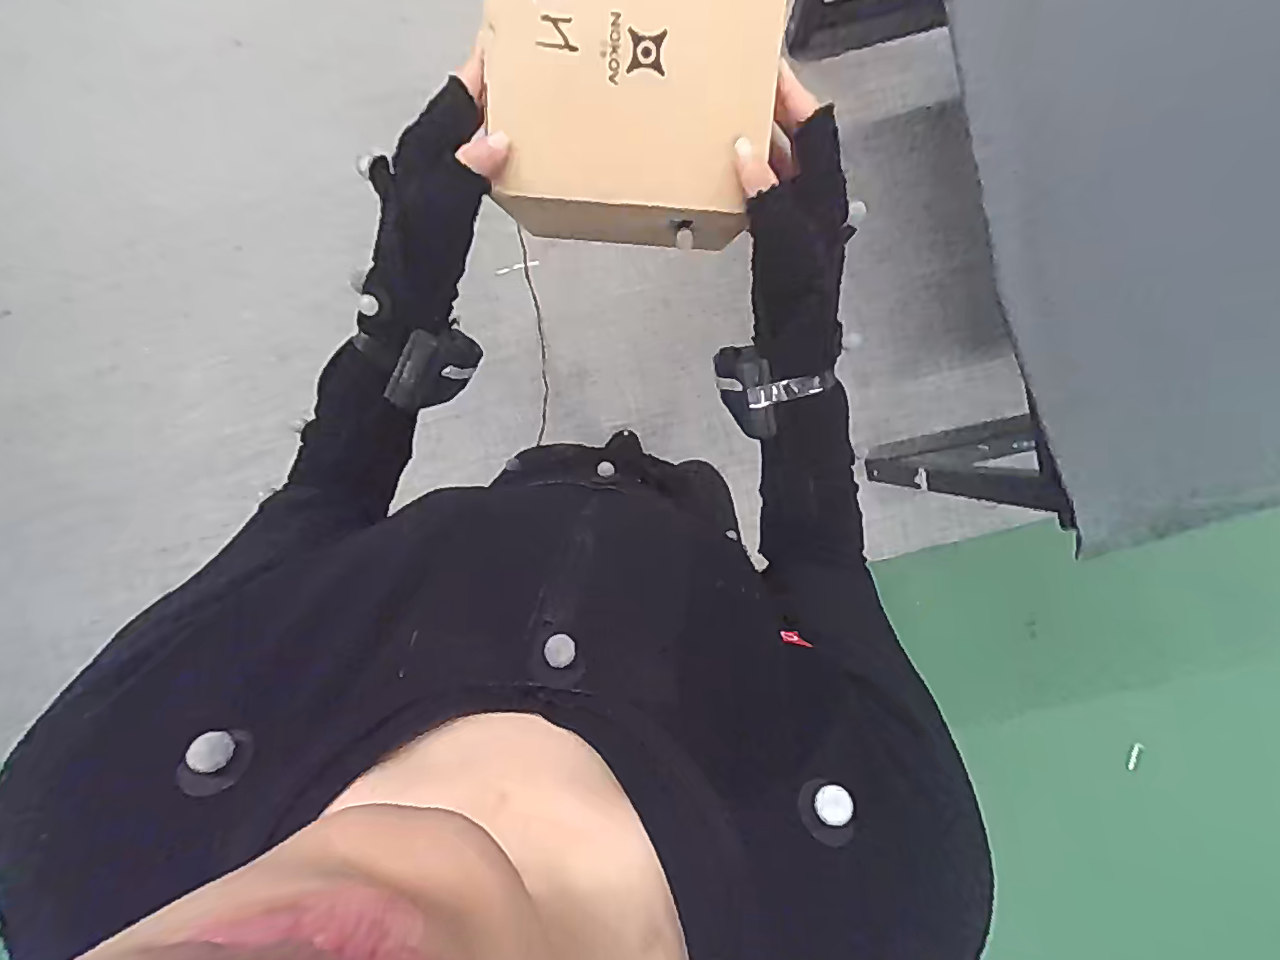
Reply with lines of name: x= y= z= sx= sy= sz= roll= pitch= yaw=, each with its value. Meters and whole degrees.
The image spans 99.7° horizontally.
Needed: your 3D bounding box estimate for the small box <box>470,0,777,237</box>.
small box: x=-0.011 y=-0.278 z=0.387 sx=0.179 sy=0.176 sz=0.168 roll=3 pitch=106 yaw=-1
